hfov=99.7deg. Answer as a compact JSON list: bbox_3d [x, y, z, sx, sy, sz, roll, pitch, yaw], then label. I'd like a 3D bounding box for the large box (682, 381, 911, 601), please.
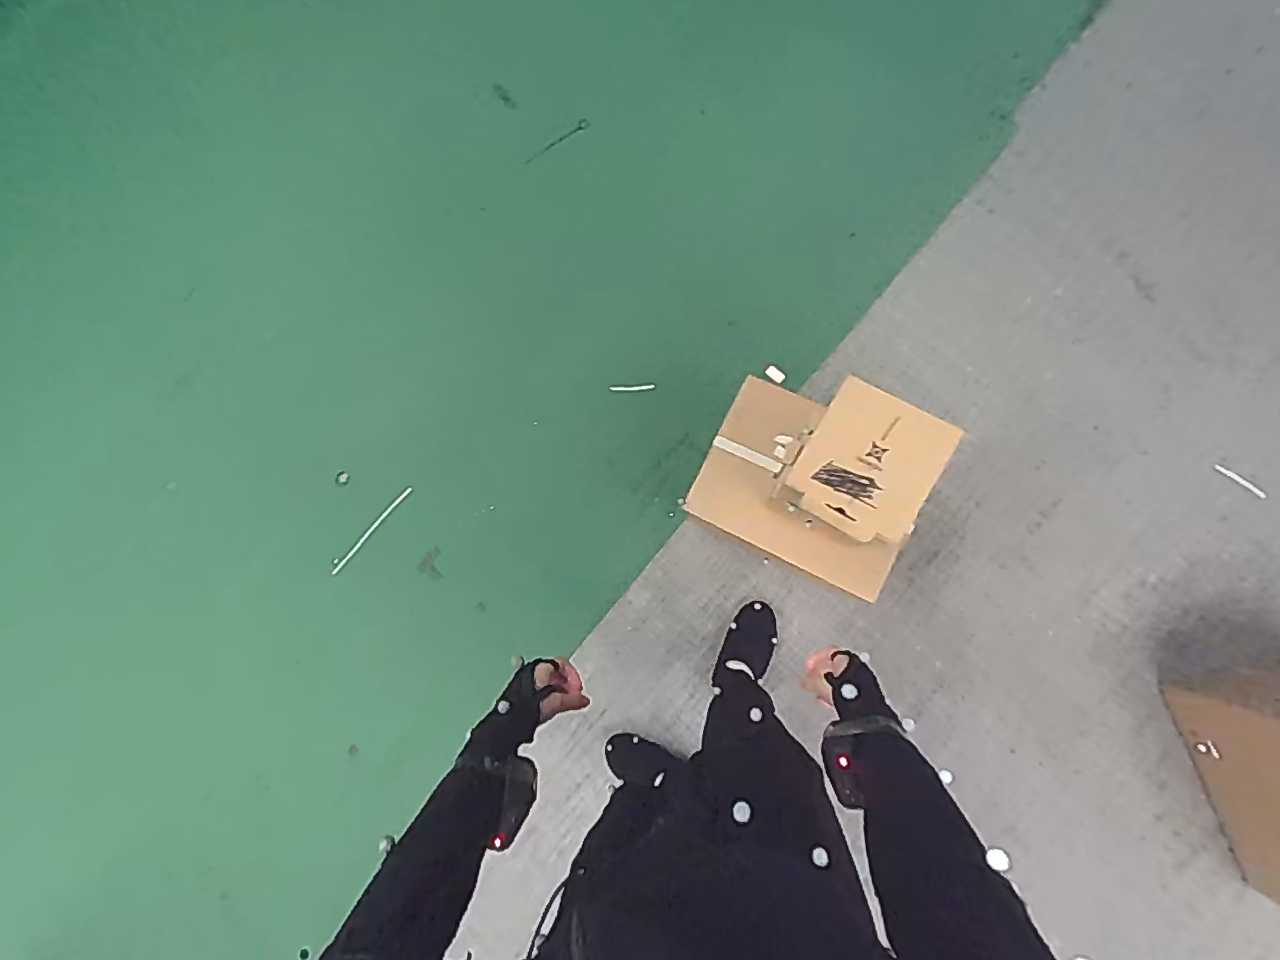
[{"bbox_3d":[0.352,0.037,1.196,0.408,0.320,0.320,26,84,14],"label":"large box"}]

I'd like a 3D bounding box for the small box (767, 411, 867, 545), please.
[{"bbox_3d":[0.338,0.007,0.952,0.179,0.176,0.168,29,88,12],"label":"small box"}]

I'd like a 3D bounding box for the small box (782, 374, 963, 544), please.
[{"bbox_3d":[0.322,-0.019,0.790,0.168,0.176,0.179,31,88,13],"label":"small box"}]
